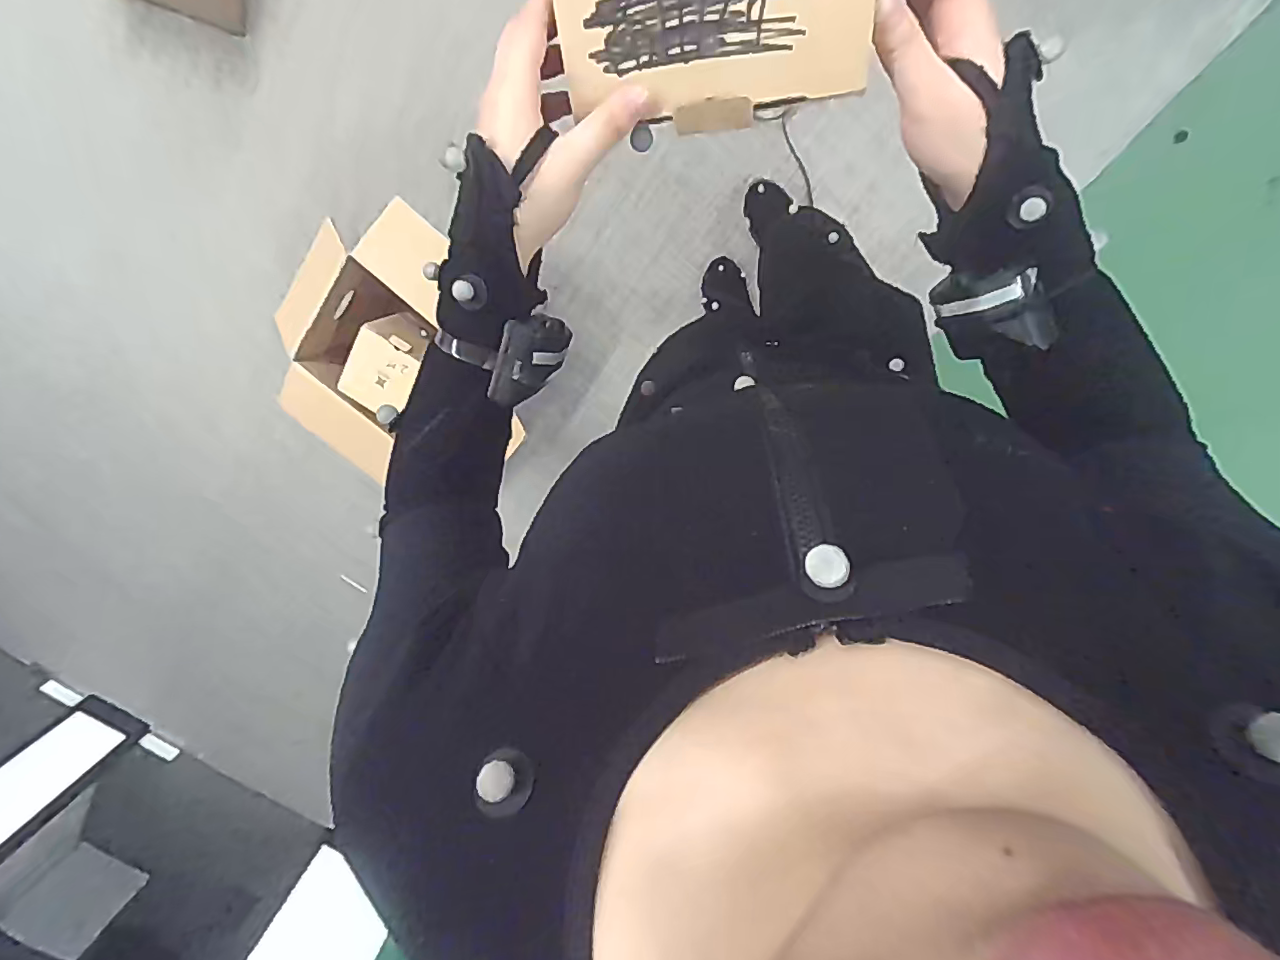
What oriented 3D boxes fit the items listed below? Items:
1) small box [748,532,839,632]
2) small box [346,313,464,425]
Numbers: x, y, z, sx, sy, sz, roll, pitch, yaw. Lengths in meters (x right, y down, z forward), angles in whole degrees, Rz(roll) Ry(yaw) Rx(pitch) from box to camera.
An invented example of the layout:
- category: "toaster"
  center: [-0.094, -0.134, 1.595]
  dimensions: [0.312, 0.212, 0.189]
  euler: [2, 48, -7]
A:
- category: "small box"
  center: [0.417, 0.275, 1.491]
  dimensions: [0.179, 0.176, 0.168]
  euler: [35, 116, -6]
- category: "small box"
  center: [-0.540, -0.264, 1.262]
  dimensions: [0.168, 0.176, 0.179]
  euler: [34, 115, -9]
